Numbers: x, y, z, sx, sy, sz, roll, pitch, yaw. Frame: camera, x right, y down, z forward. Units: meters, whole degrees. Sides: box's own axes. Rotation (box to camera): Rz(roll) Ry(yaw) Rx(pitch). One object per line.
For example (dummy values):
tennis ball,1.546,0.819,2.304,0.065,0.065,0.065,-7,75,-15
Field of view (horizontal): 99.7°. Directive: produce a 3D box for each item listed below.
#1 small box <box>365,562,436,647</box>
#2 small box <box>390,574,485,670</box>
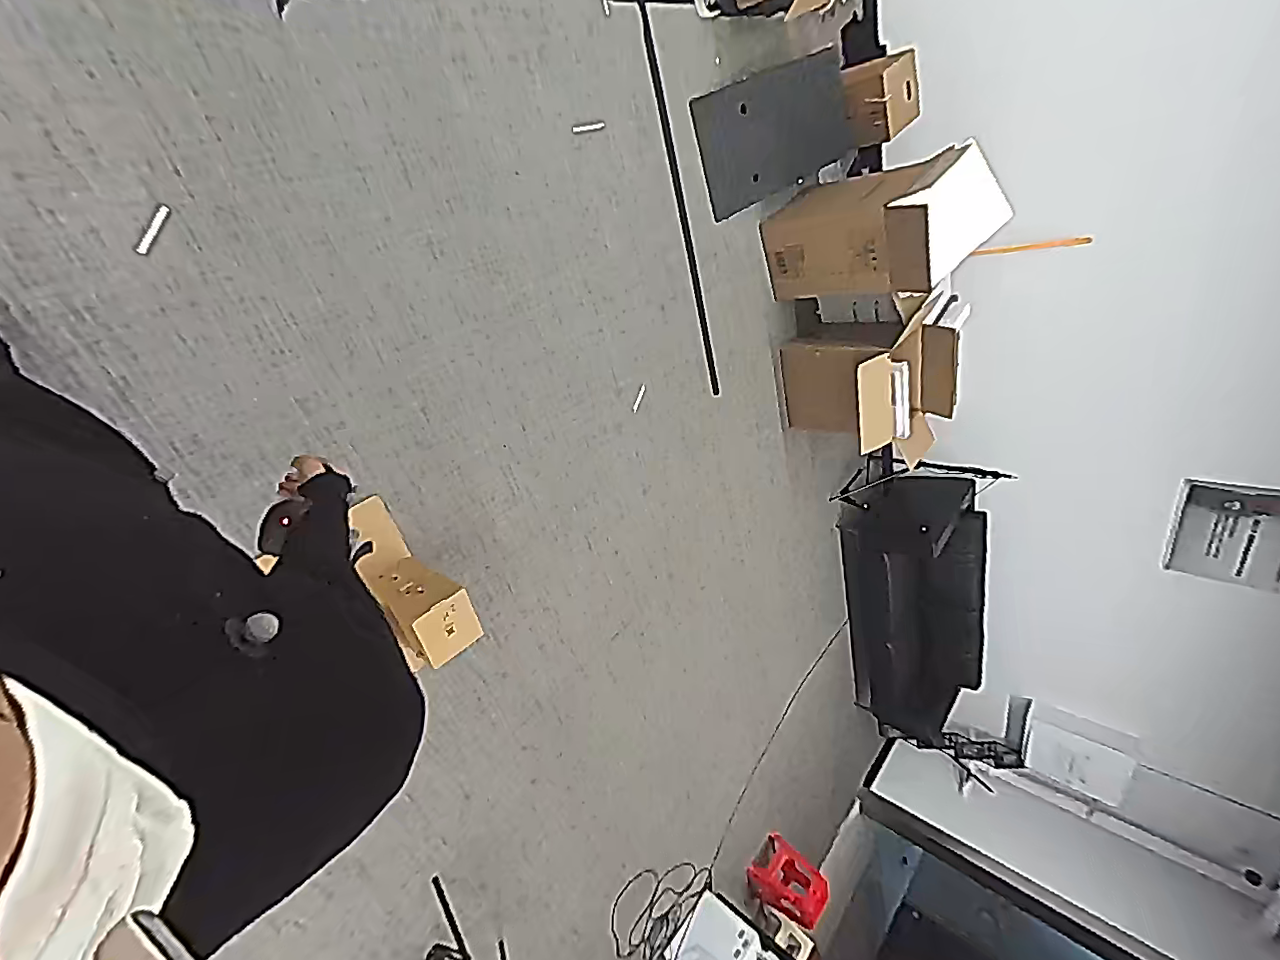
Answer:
small box,-0.703,0.369,1.647,0.168,0.176,0.179,-35,123,-36
small box,-0.577,0.398,1.544,0.168,0.176,0.179,-34,123,-37
